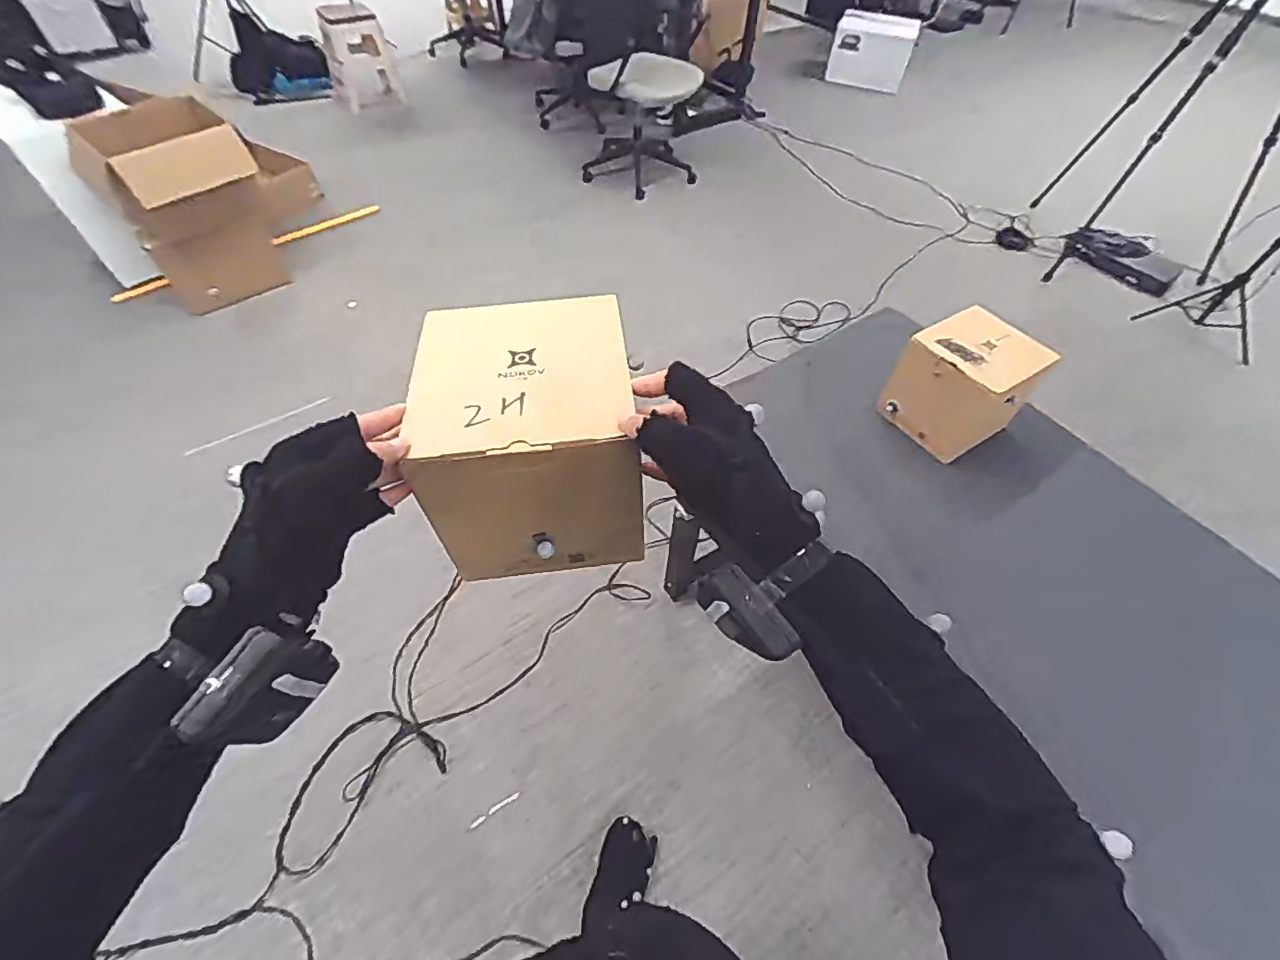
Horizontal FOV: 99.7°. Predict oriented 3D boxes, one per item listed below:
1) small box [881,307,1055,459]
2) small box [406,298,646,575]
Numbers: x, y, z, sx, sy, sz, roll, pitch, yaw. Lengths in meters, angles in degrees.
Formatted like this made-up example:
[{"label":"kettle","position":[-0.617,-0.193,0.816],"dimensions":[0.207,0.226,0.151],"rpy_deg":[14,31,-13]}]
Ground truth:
[{"label":"small box","position":[0.553,-0.165,0.944],"dimensions":[0.179,0.176,0.168],"rpy_deg":[-27,59,-21]},{"label":"small box","position":[-0.085,-0.037,0.483],"dimensions":[0.168,0.176,0.179],"rpy_deg":[-6,51,-3]}]
